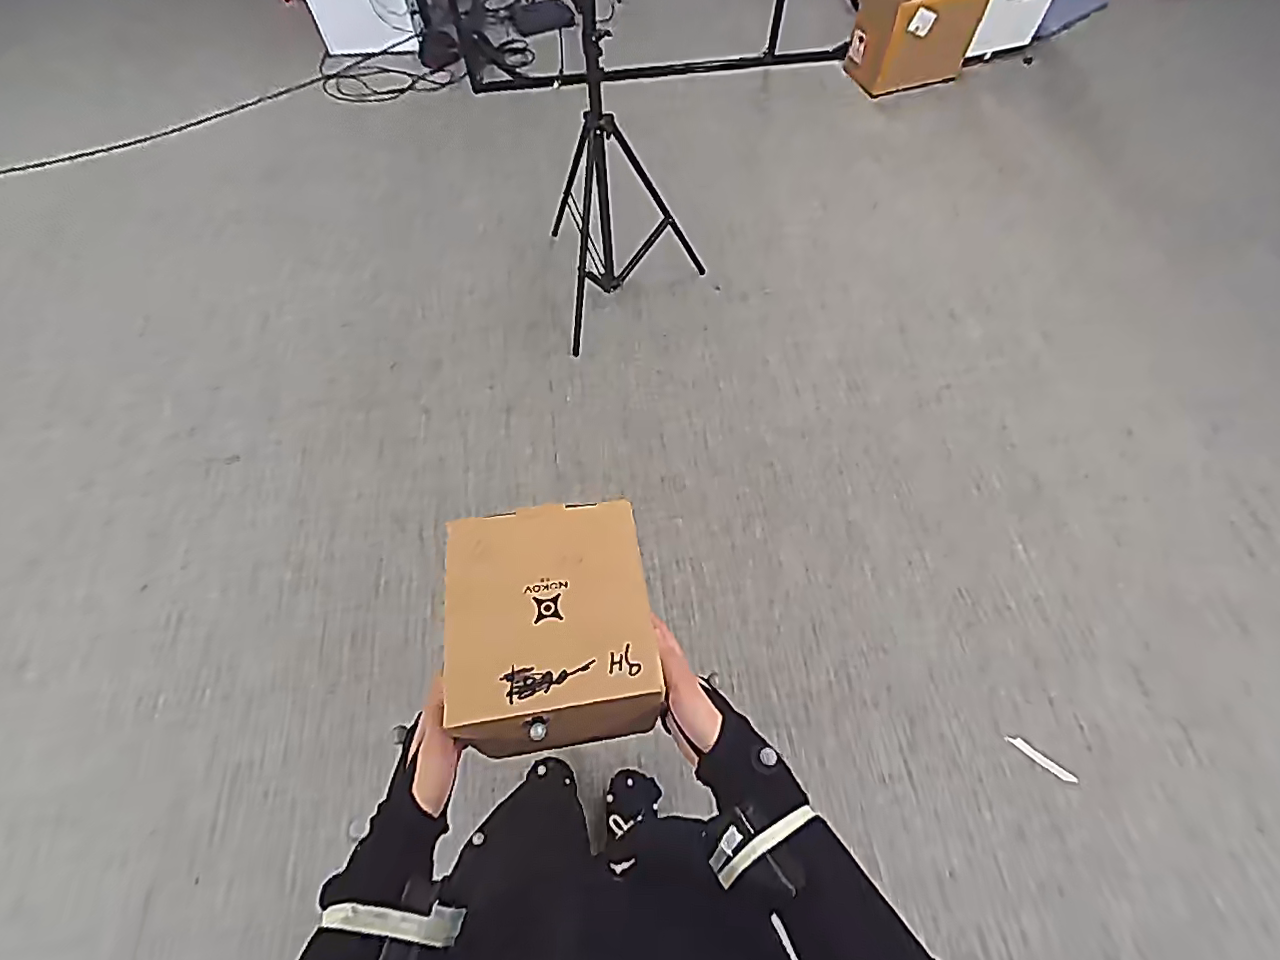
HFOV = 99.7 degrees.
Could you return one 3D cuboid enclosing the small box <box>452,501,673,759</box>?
[{"bbox_3d":[-0.071,0.144,0.510,0.168,0.176,0.179,-7,56,-7],"label":"small box"}]
